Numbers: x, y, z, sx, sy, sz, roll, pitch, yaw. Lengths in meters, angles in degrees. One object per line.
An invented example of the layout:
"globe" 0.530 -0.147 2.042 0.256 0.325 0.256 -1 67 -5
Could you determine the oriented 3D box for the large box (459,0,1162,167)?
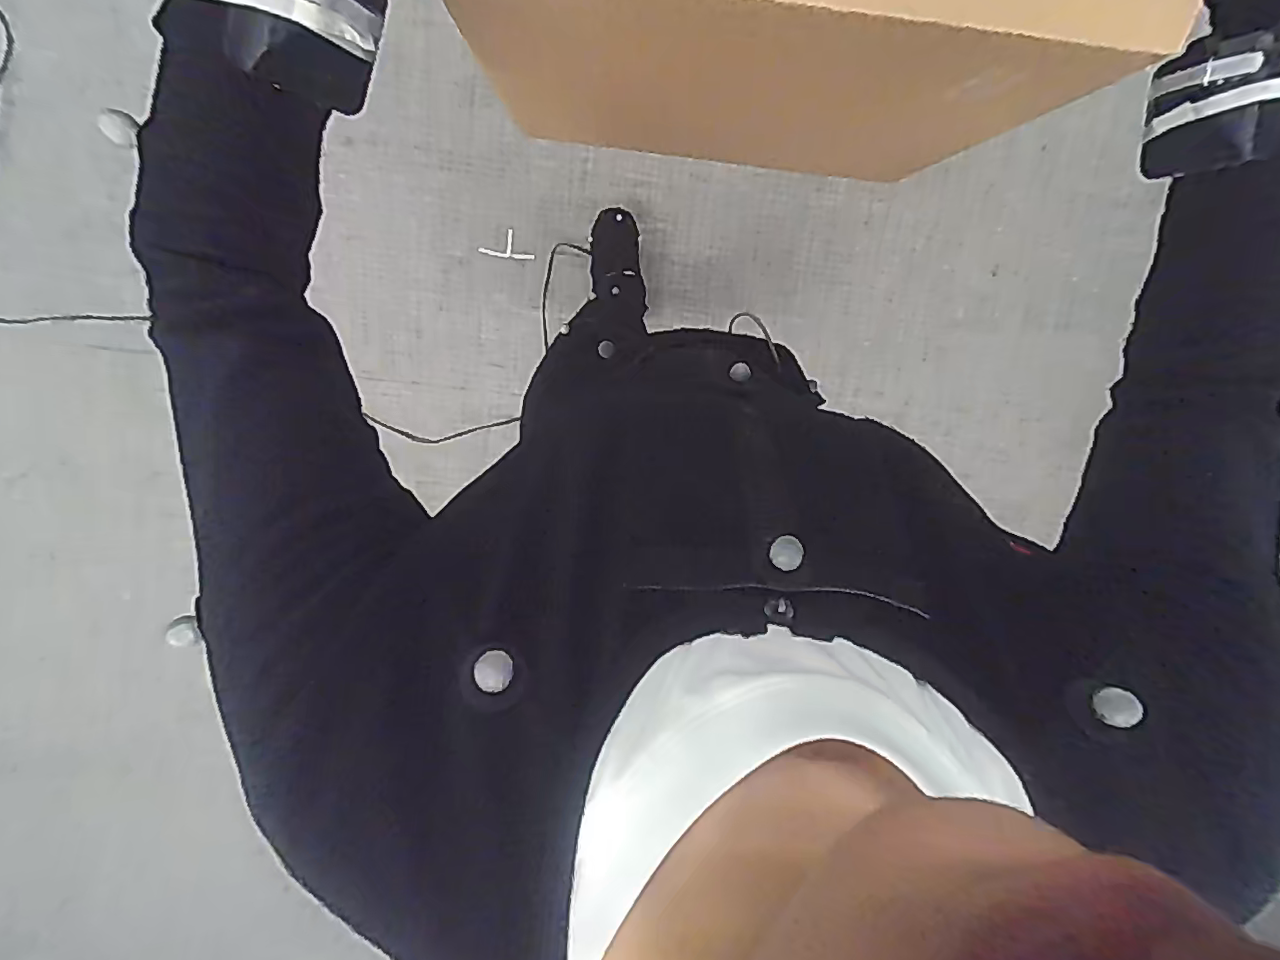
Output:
"large box" 0.091 -0.447 0.386 0.408 0.320 0.320 4 108 -3
